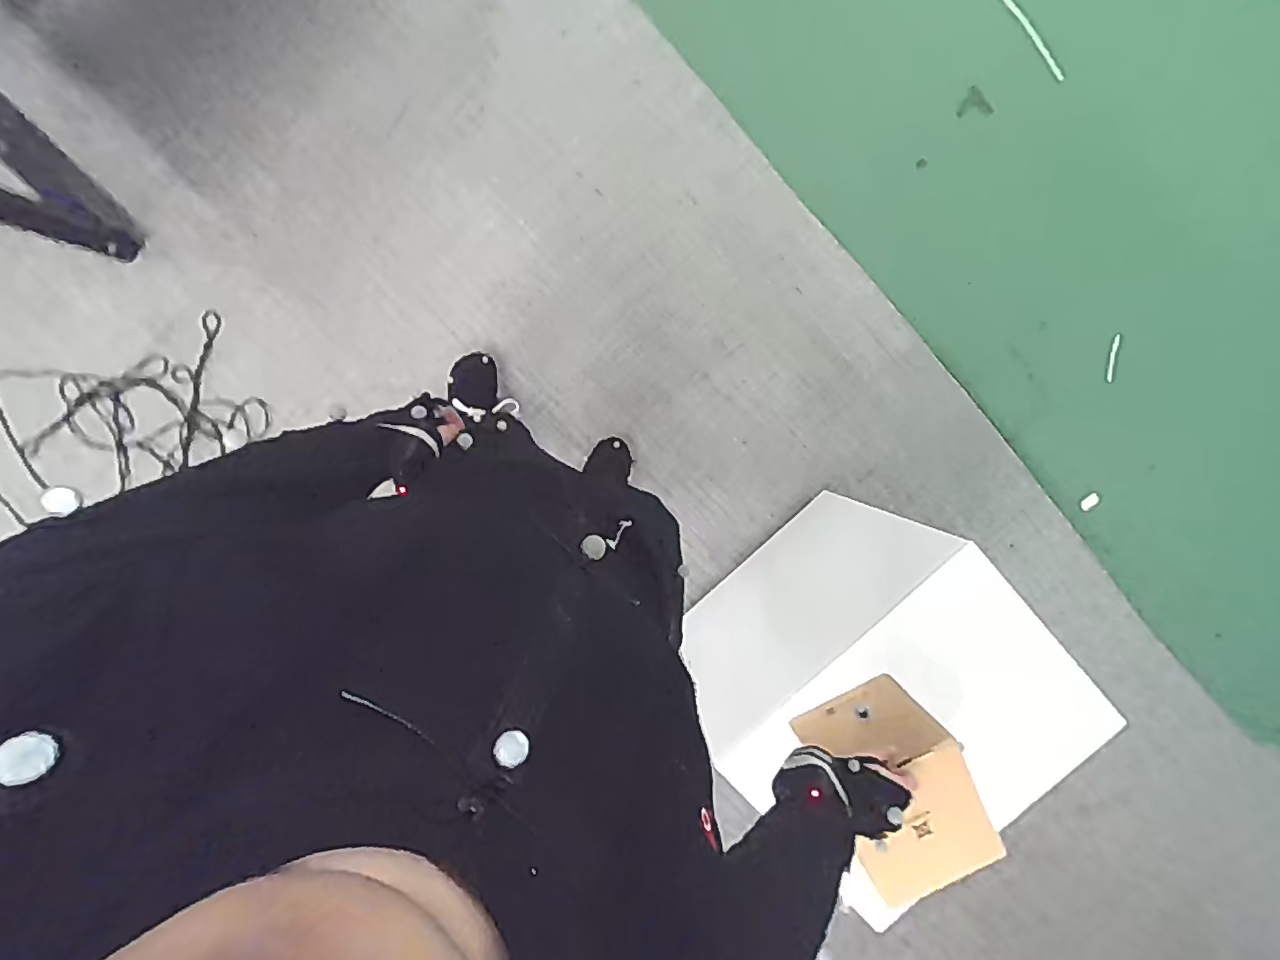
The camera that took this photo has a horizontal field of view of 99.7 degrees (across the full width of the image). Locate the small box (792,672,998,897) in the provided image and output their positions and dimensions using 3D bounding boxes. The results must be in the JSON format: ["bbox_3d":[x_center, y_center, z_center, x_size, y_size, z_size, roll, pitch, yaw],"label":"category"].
[{"bbox_3d":[0.337,0.404,0.745,0.168,0.176,0.179,-27,98,1],"label":"small box"}]
